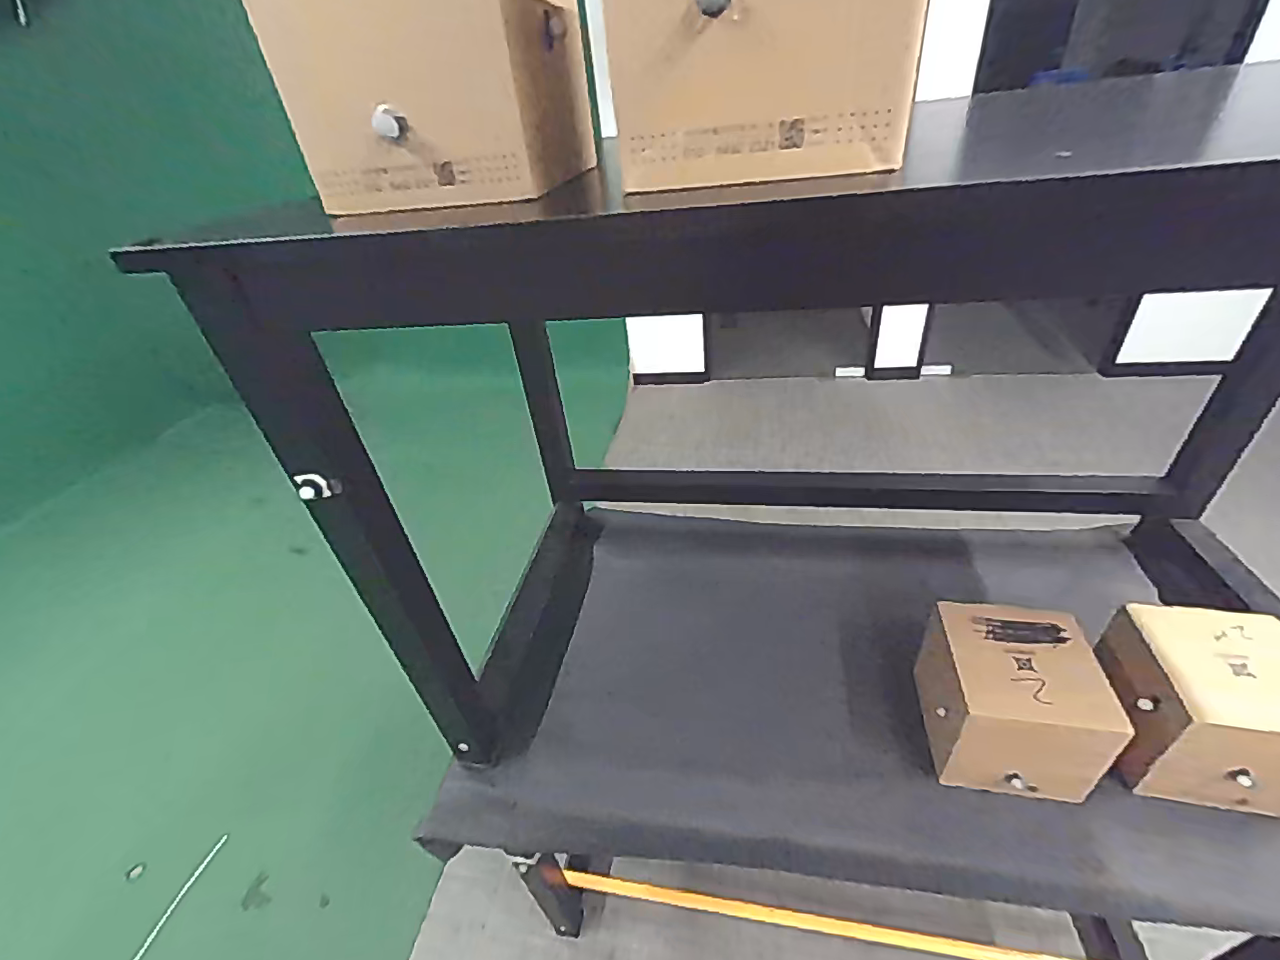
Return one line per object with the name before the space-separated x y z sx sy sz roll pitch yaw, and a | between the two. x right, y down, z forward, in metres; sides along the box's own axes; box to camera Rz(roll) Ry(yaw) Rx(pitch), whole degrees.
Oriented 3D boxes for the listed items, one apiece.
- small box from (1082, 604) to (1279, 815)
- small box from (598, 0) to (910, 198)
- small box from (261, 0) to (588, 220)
small box | 0.709 0.286 0.682 0.168 0.176 0.179 3 36 15
small box | 0.074 -0.290 0.352 0.168 0.176 0.179 1 36 13
small box | -0.144 -0.305 0.408 0.168 0.176 0.179 1 37 12
